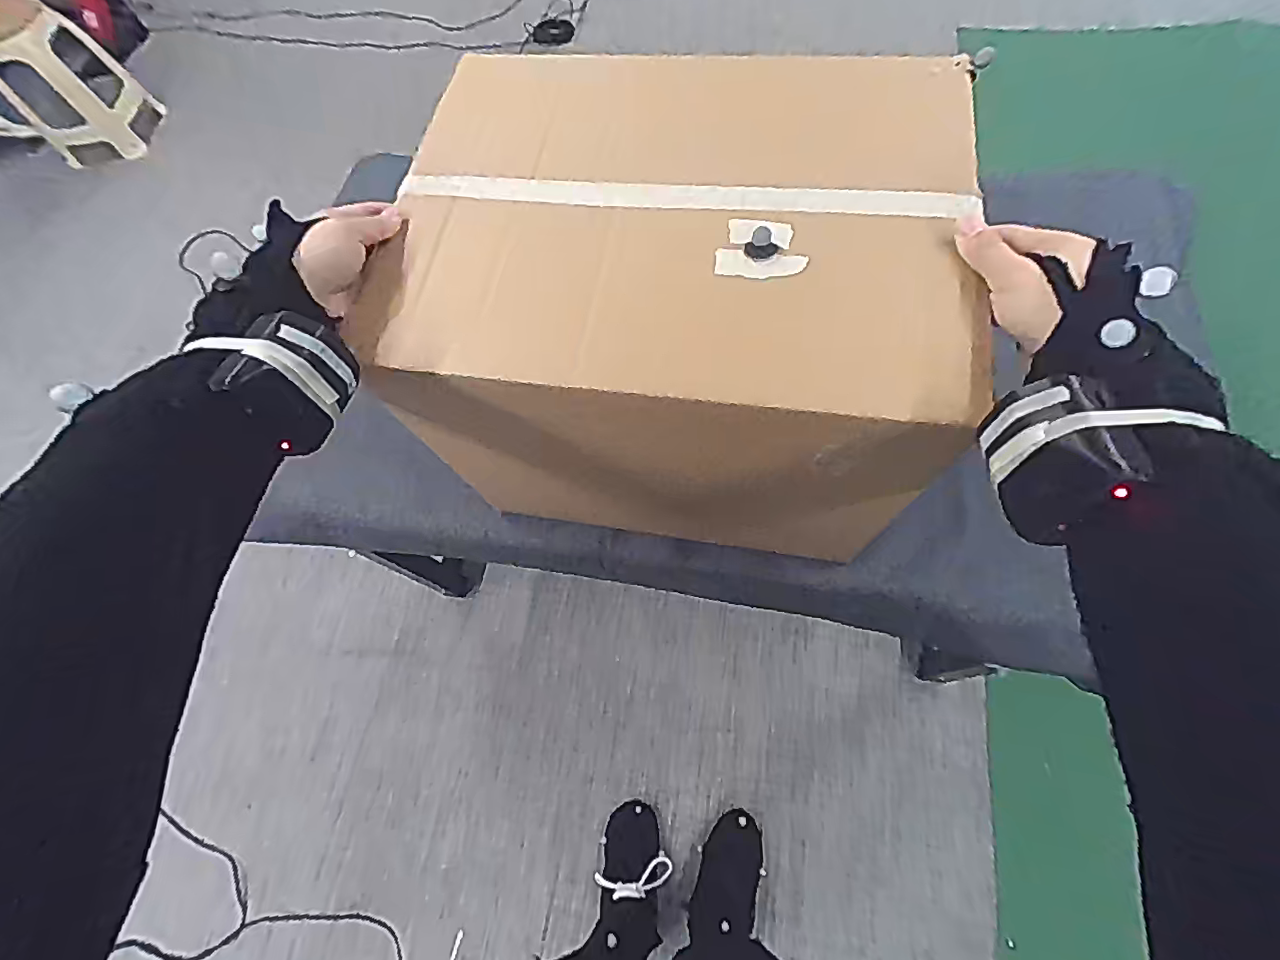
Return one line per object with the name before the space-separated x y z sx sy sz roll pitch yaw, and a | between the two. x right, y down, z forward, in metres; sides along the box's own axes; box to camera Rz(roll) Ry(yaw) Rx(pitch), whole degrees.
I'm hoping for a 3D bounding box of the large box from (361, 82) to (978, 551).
large box | 0.036 -0.137 0.533 0.408 0.320 0.320 7 69 8
